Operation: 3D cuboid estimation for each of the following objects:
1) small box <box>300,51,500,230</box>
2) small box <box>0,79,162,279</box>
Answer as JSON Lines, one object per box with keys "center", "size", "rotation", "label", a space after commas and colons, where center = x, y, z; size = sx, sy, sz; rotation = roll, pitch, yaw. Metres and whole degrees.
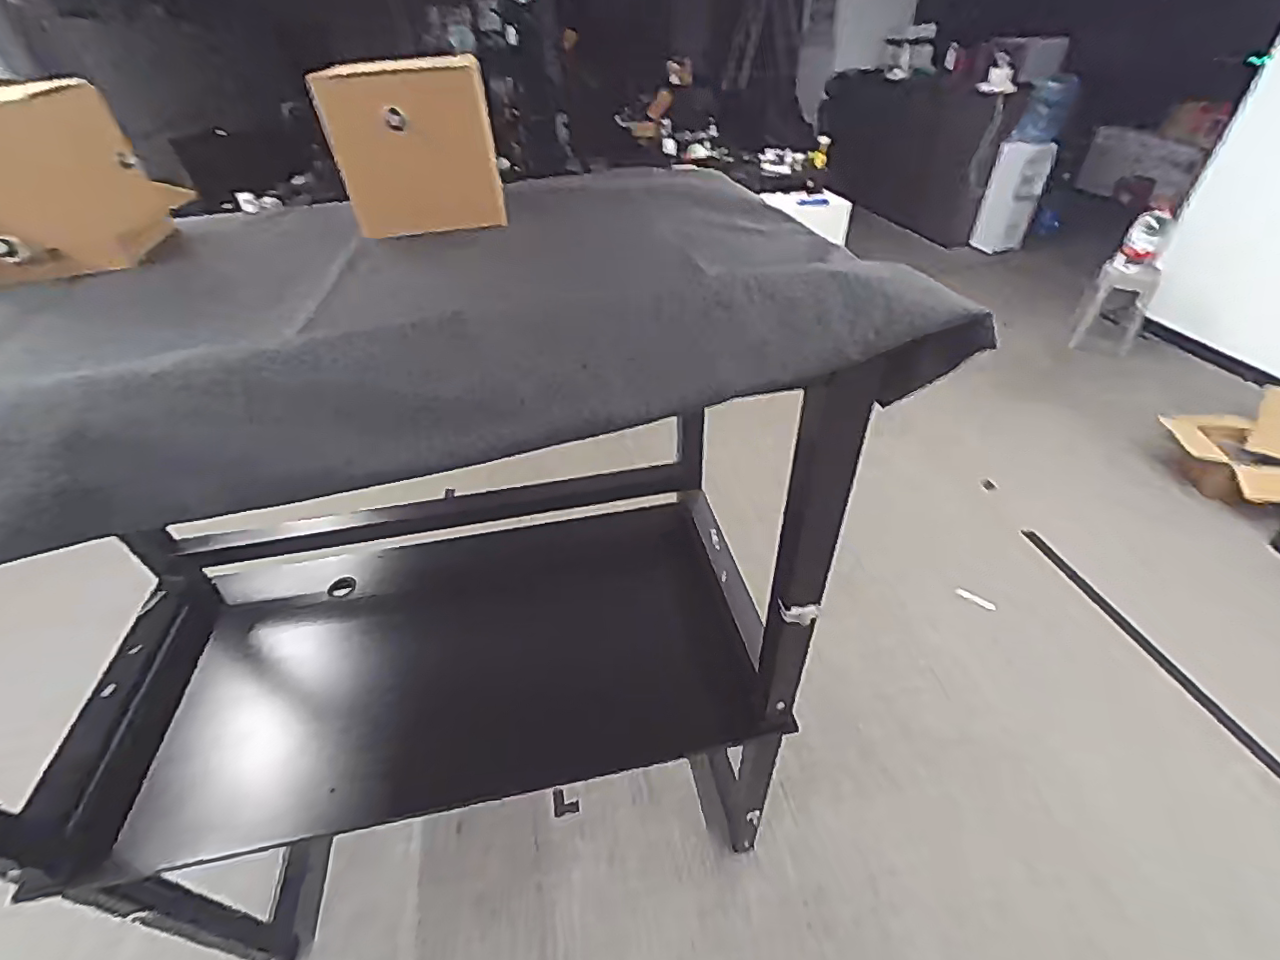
{"center": [-0.284, -0.430, 0.687], "size": [0.179, 0.176, 0.168], "rotation": [-10, 42, -7], "label": "small box"}
{"center": [-0.702, -0.342, 0.616], "size": [0.168, 0.176, 0.179], "rotation": [-15, 42, -12], "label": "small box"}
